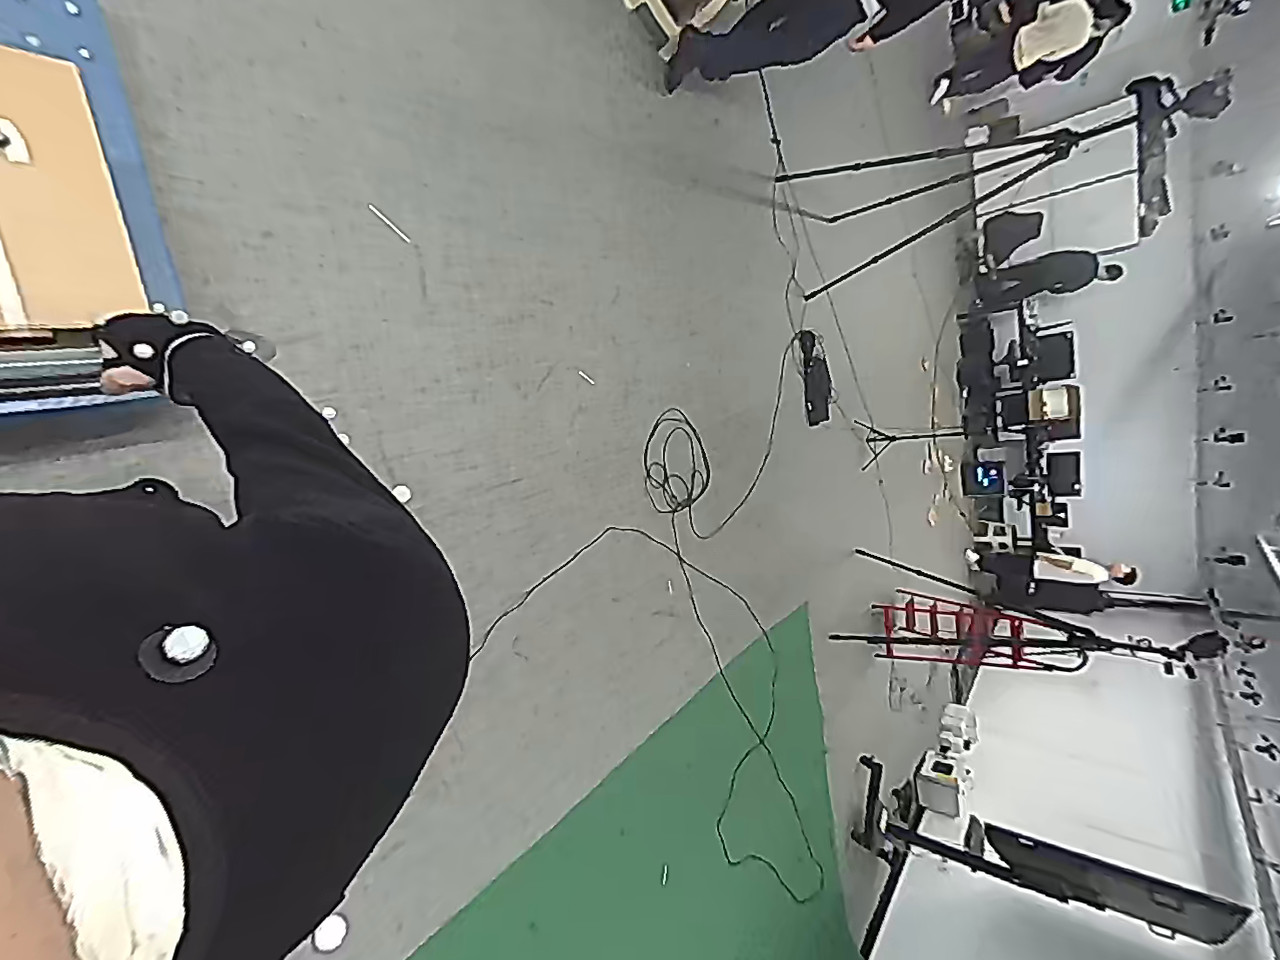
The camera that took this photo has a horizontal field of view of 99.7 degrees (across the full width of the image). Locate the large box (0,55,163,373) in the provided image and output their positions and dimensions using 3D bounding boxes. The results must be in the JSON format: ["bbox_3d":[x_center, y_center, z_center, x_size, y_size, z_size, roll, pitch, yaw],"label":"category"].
[{"bbox_3d":[-1.035,-0.396,0.860,0.320,0.320,0.408,-20,102,-47],"label":"large box"}]
